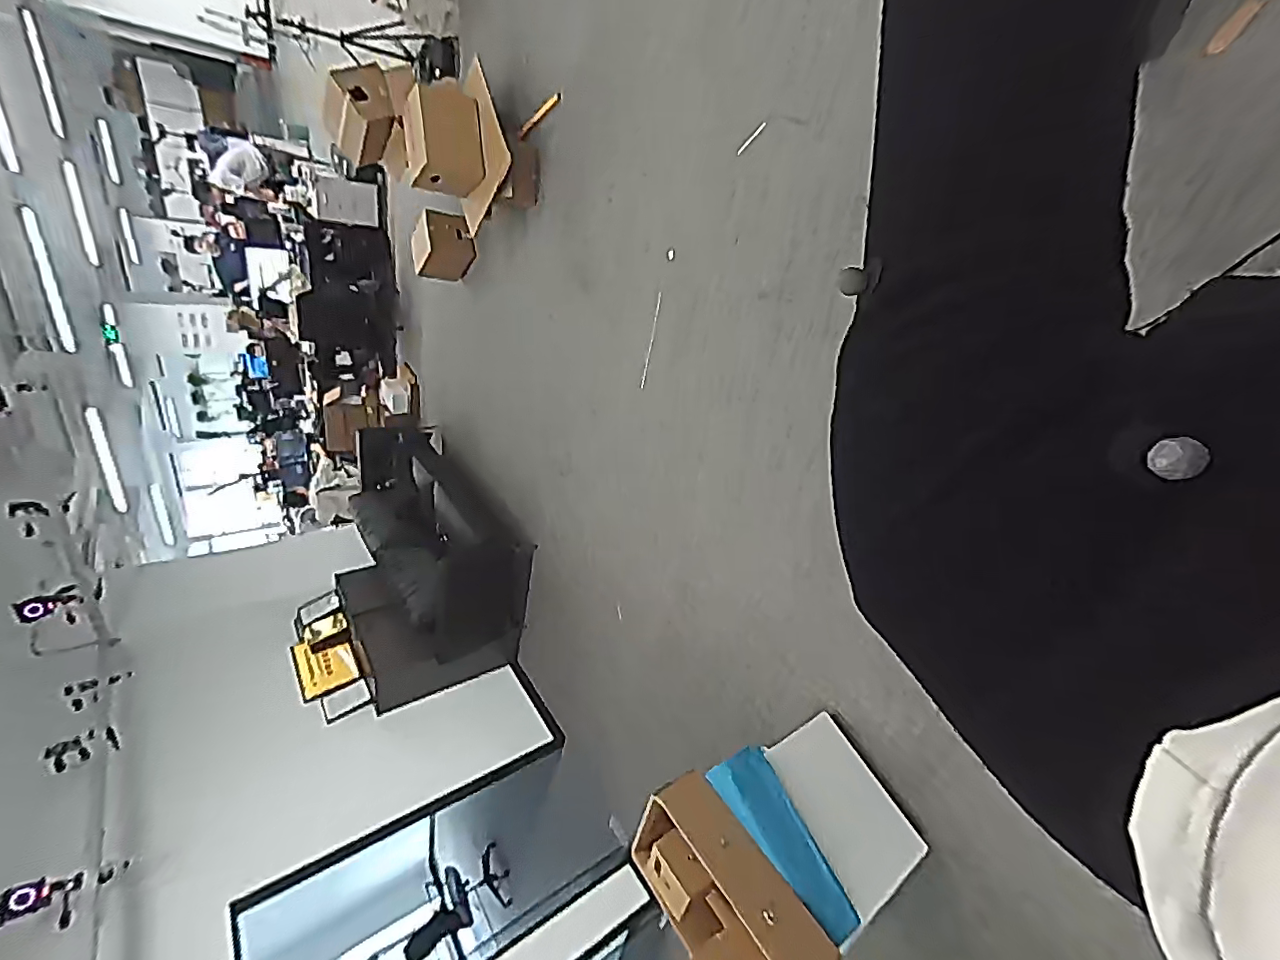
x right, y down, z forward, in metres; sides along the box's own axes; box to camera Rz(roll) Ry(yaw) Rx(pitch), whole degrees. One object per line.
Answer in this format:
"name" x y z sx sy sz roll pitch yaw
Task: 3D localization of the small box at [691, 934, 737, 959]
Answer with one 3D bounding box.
"small box" 0.193 1.377 1.436 0.179 0.176 0.168 40 130 41
